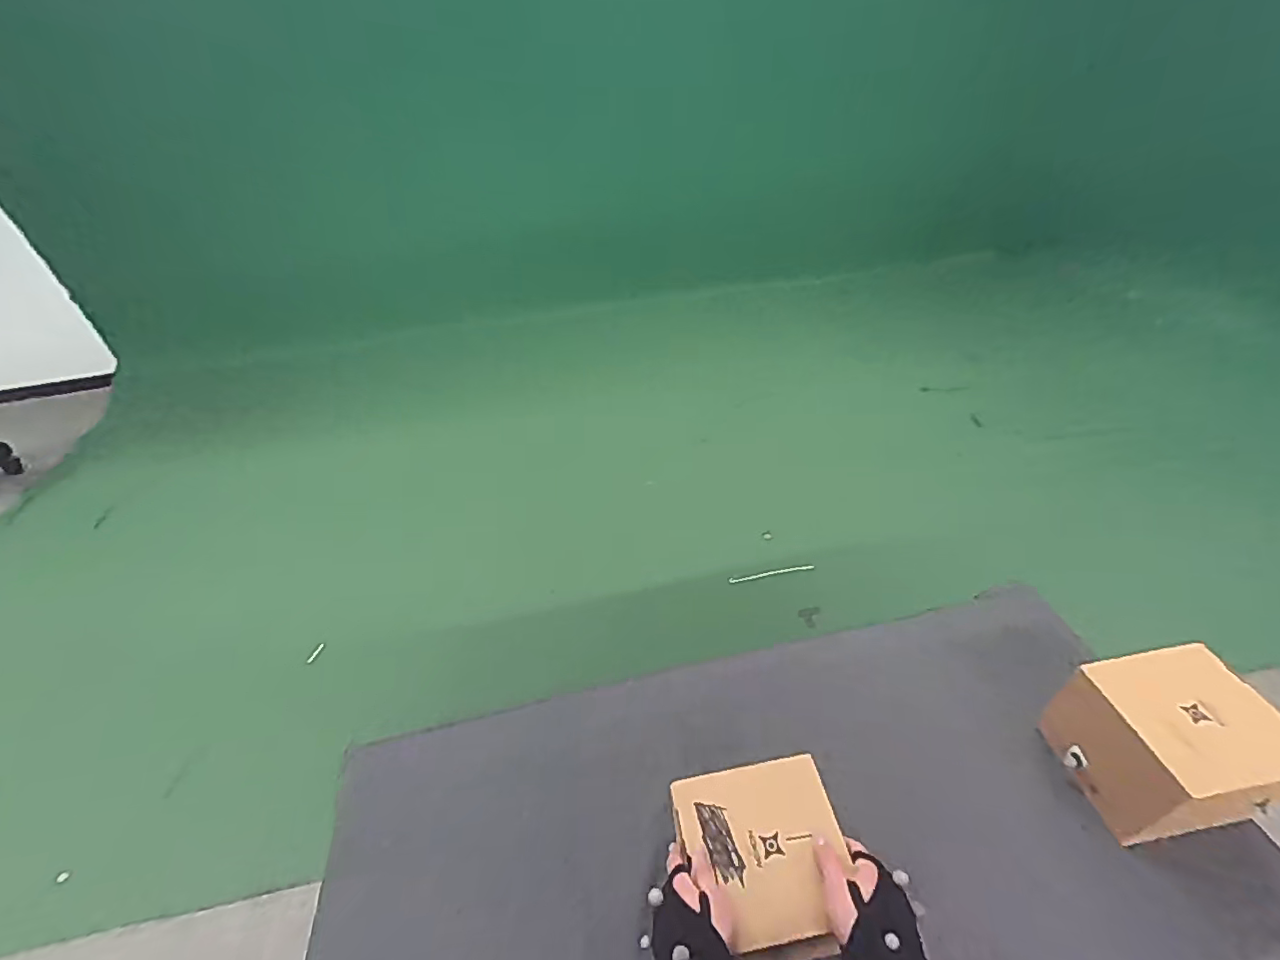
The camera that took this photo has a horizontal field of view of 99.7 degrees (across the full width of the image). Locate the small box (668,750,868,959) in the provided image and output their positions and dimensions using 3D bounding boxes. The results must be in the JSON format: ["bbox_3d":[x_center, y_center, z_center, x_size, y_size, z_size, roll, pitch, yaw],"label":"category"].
[{"bbox_3d":[0.136,0.449,0.637,0.179,0.176,0.168,-8,42,-4],"label":"small box"}]

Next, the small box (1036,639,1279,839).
[{"bbox_3d":[0.673,0.336,0.702,0.179,0.176,0.168,-11,41,-3],"label":"small box"}]
